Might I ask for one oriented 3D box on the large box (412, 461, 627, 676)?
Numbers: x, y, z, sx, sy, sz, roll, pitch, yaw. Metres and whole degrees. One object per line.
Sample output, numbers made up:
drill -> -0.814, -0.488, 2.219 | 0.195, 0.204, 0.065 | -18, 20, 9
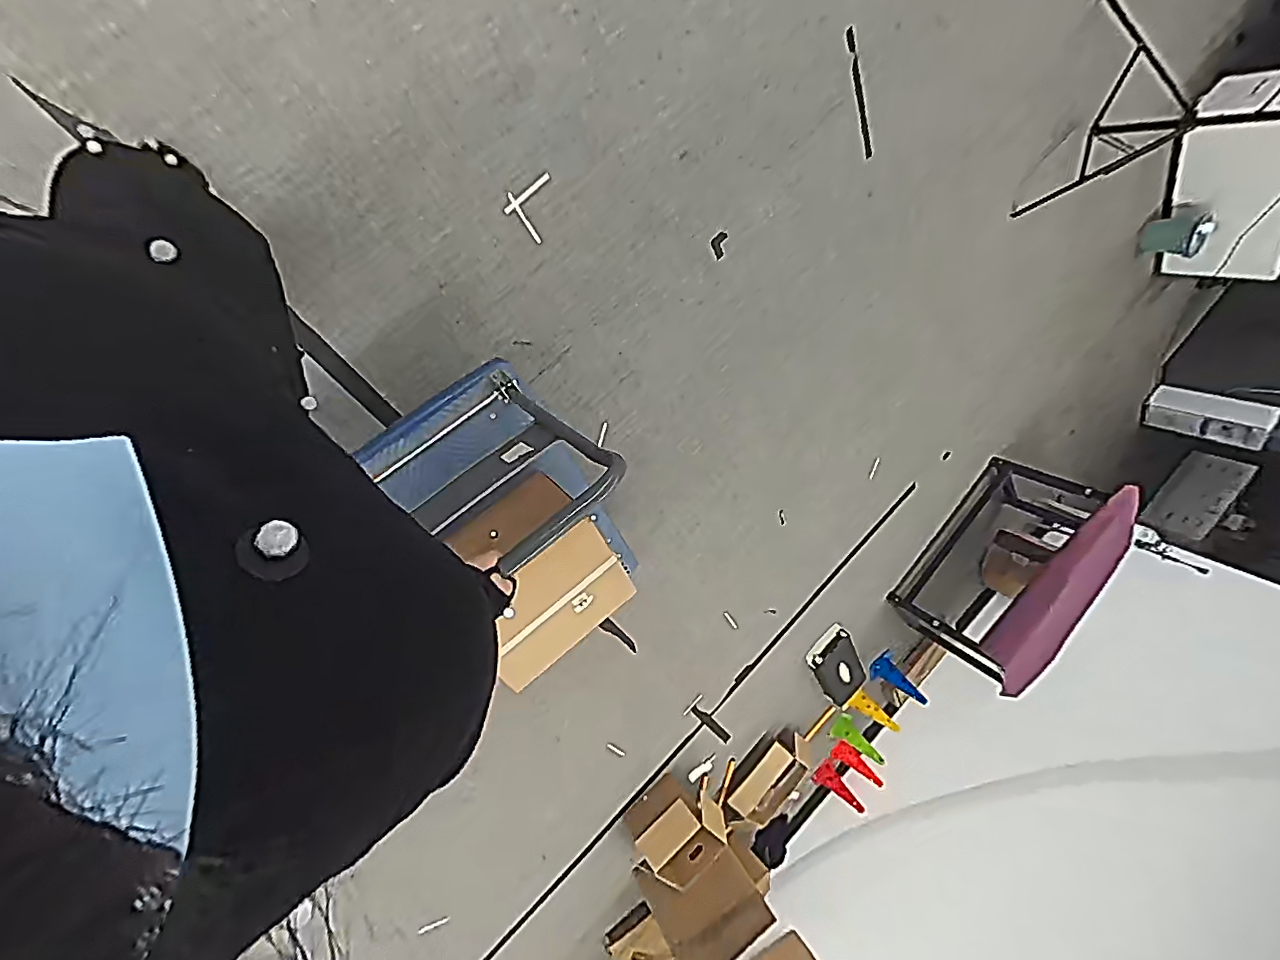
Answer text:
large box -> -0.319, 0.220, 1.440 | 0.408, 0.320, 0.320 | -39, 130, -14
